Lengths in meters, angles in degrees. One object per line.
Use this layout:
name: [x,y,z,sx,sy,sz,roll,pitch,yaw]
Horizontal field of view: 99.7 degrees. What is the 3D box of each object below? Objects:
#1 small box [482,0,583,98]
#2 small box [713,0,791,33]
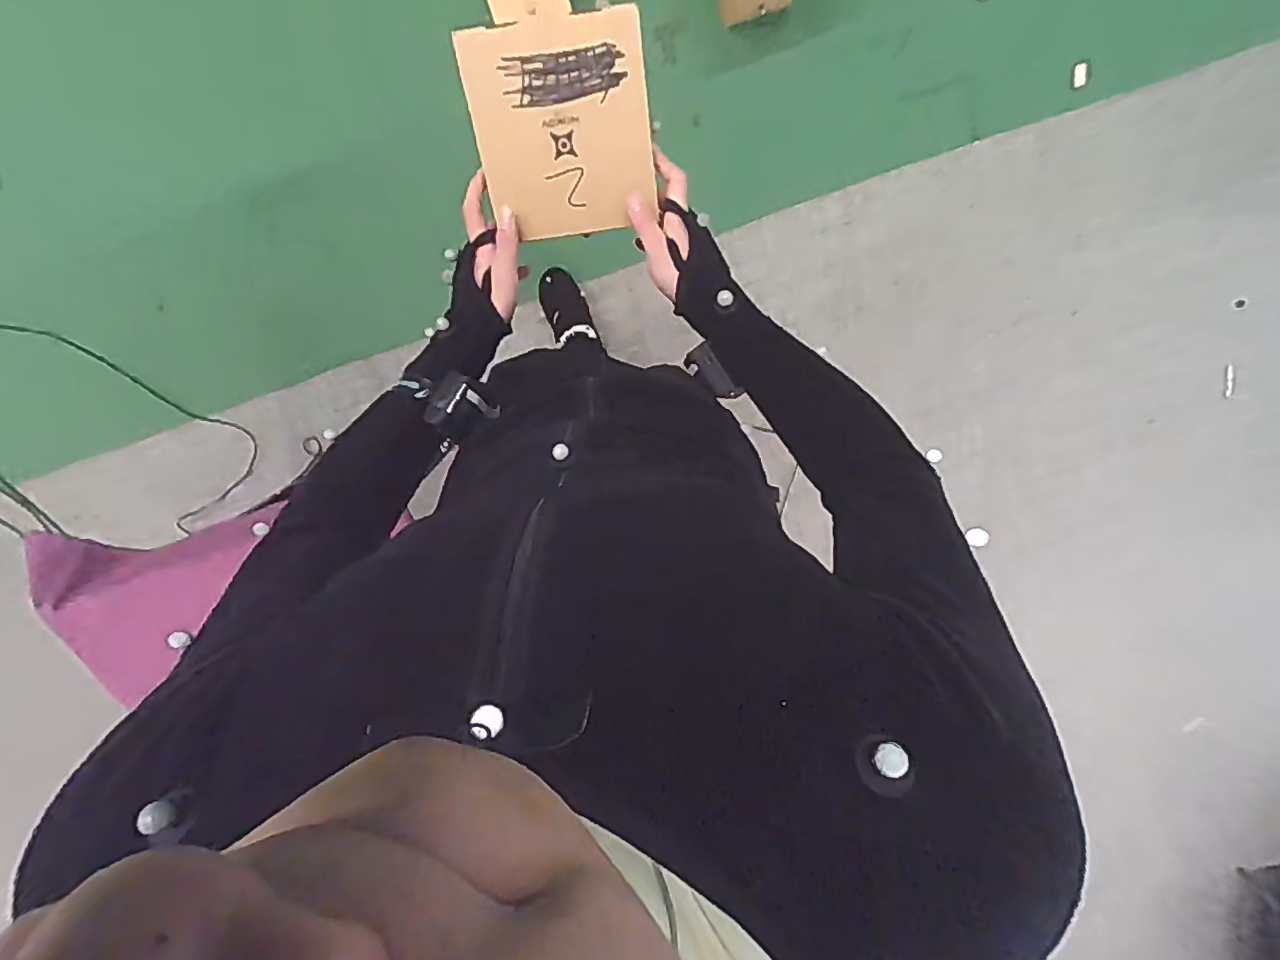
small box: [-0.233,-0.988,1.206,0.168,0.176,0.179,-18,109,3]
small box: [0.246,-1.137,1.182,0.168,0.176,0.179,-17,110,2]
